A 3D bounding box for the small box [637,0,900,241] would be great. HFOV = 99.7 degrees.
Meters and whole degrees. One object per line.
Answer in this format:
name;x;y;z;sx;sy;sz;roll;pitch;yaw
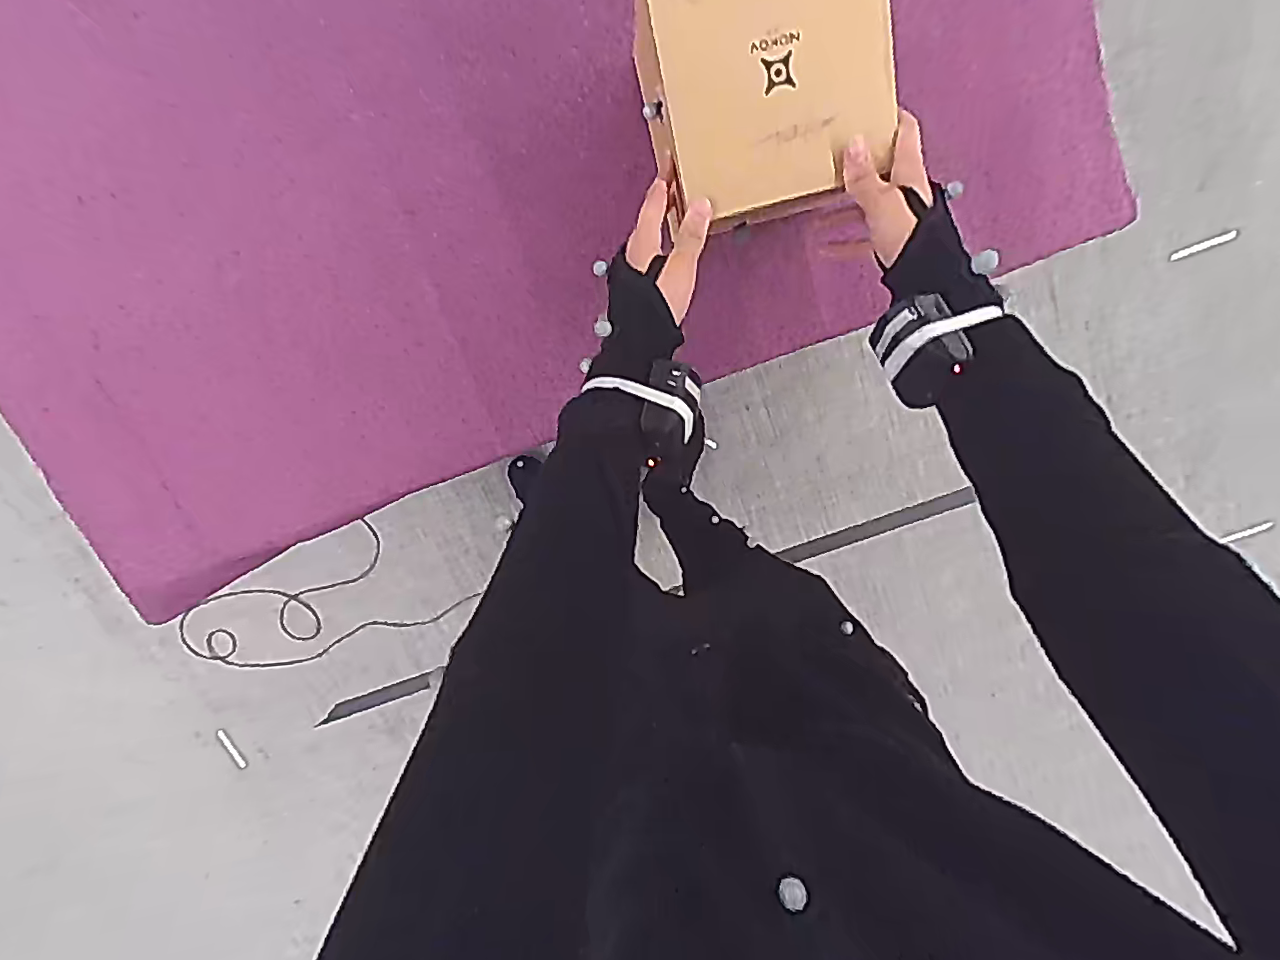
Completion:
small box;0.094;-0.317;0.455;0.168;0.176;0.179;-13;109;3
